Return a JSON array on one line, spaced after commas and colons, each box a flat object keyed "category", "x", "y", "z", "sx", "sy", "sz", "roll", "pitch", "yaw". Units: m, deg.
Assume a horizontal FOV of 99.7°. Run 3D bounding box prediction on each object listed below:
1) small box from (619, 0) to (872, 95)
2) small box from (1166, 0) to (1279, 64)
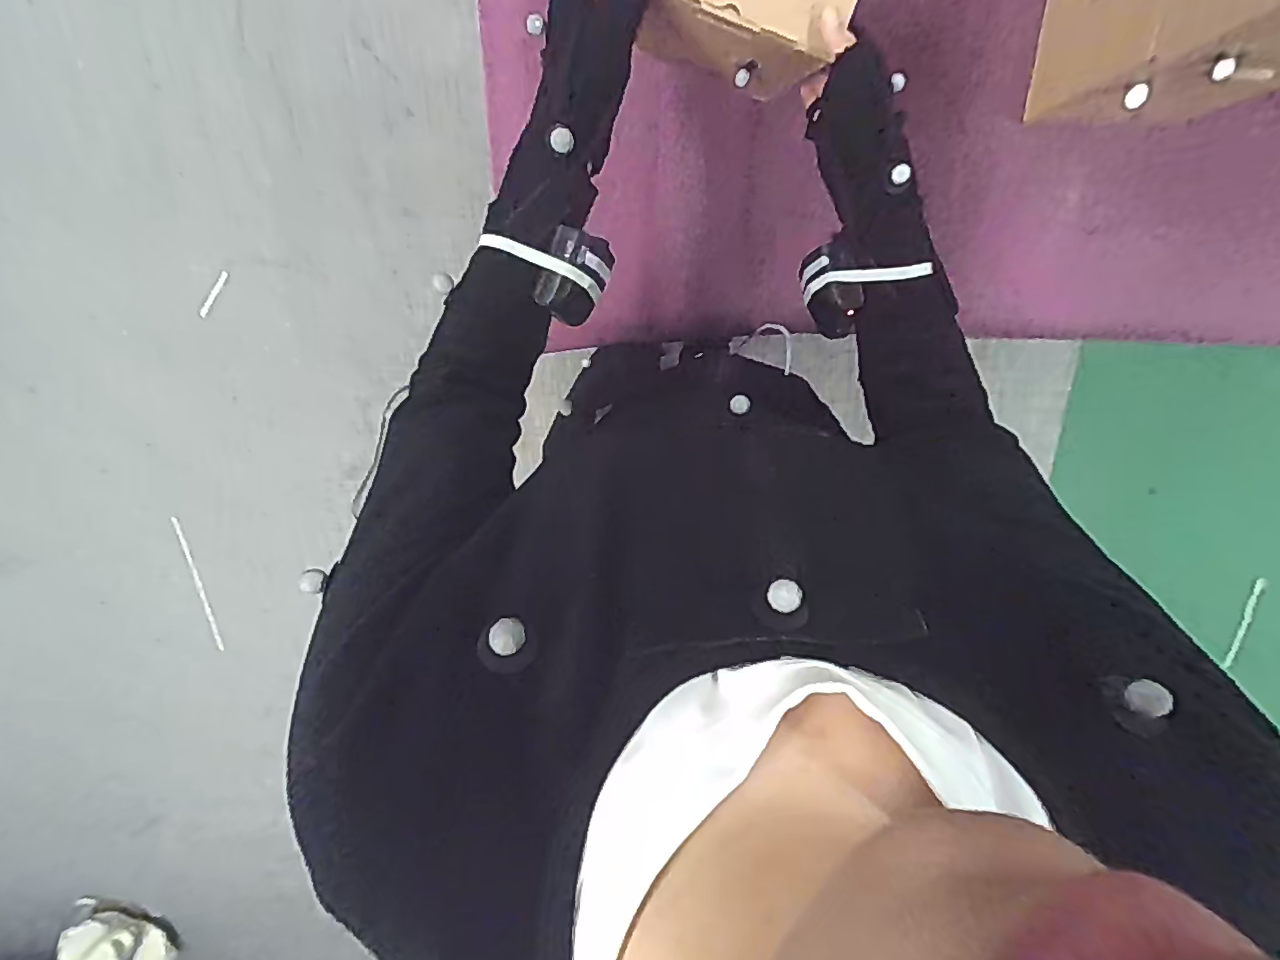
[{"category": "small box", "x": 0.084, "y": -0.413, "z": 0.390, "sx": 0.168, "sy": 0.176, "sz": 0.179, "roll": 13, "pitch": 114, "yaw": -12}, {"category": "small box", "x": 0.494, "y": -0.387, "z": 0.334, "sx": 0.168, "sy": 0.176, "sz": 0.179, "roll": 0, "pitch": 107, "yaw": 2}]
